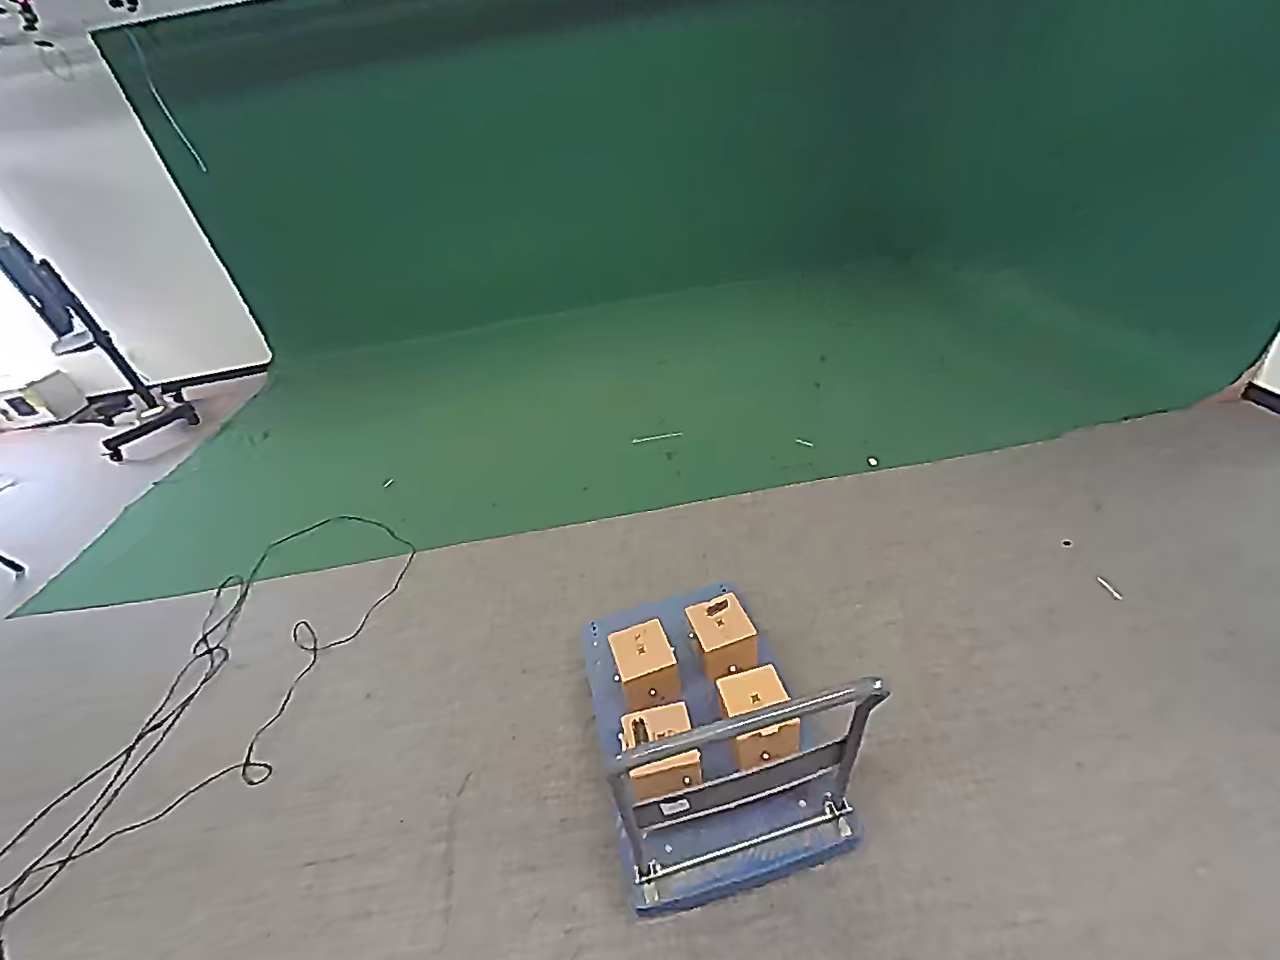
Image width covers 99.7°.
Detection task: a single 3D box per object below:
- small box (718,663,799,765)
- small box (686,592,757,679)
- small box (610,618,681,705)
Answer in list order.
[{"bbox_3d":[0.318,0.639,1.481,0.168,0.176,0.179,-14,37,-5],"label":"small box"},{"bbox_3d":[0.255,0.488,1.696,0.168,0.176,0.179,-17,38,-8],"label":"small box"},{"bbox_3d":[0.018,0.561,1.657,0.168,0.176,0.179,-16,37,-9],"label":"small box"}]
